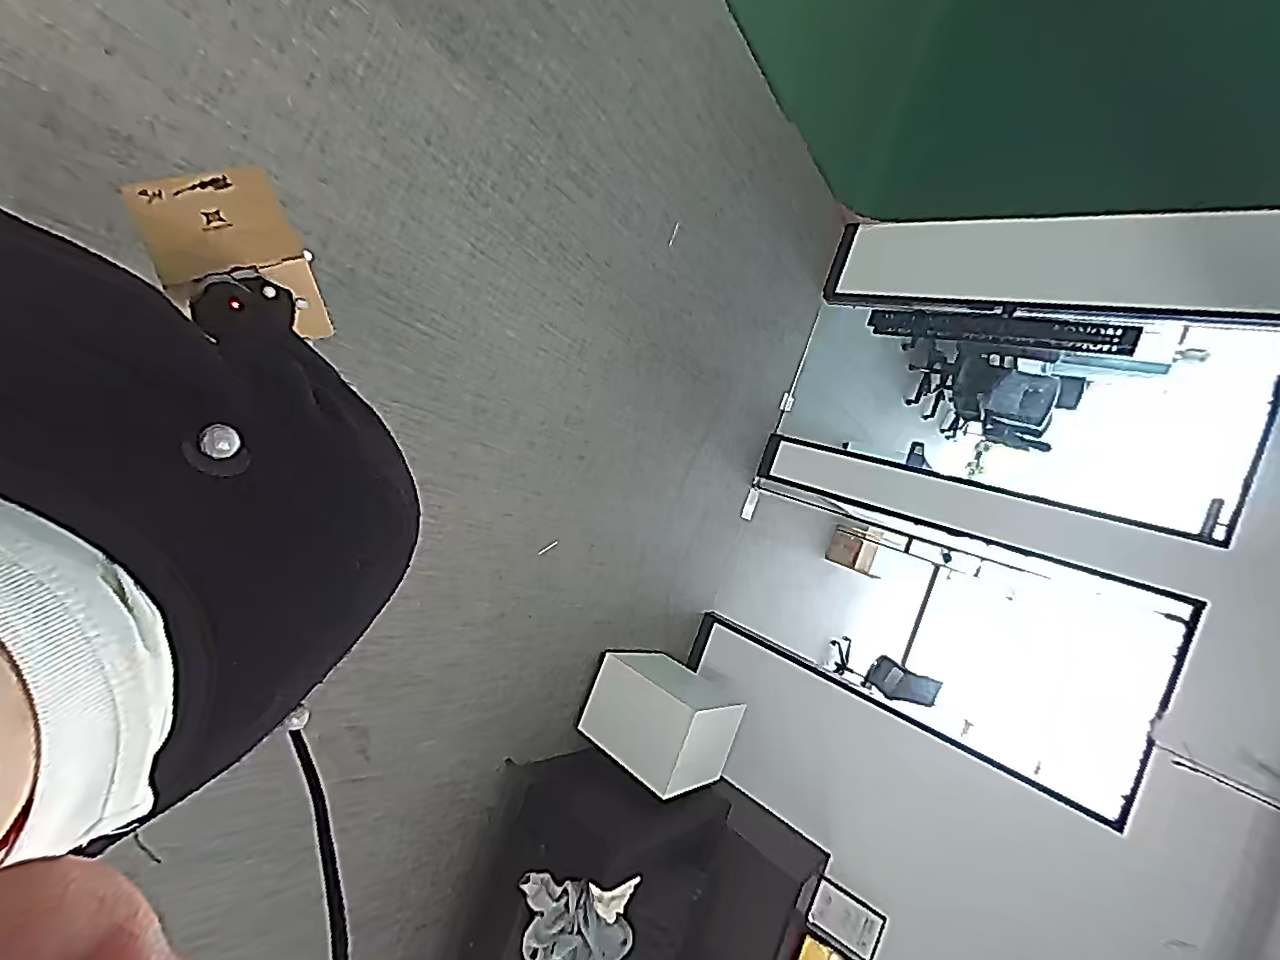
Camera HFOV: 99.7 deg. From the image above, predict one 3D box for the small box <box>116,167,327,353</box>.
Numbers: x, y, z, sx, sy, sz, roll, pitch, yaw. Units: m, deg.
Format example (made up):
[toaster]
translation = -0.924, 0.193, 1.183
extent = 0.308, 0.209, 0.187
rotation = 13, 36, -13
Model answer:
[small box]
translation = -0.587, -0.307, 0.784
extent = 0.168, 0.179, 0.176
rotation = -27, 167, -25
